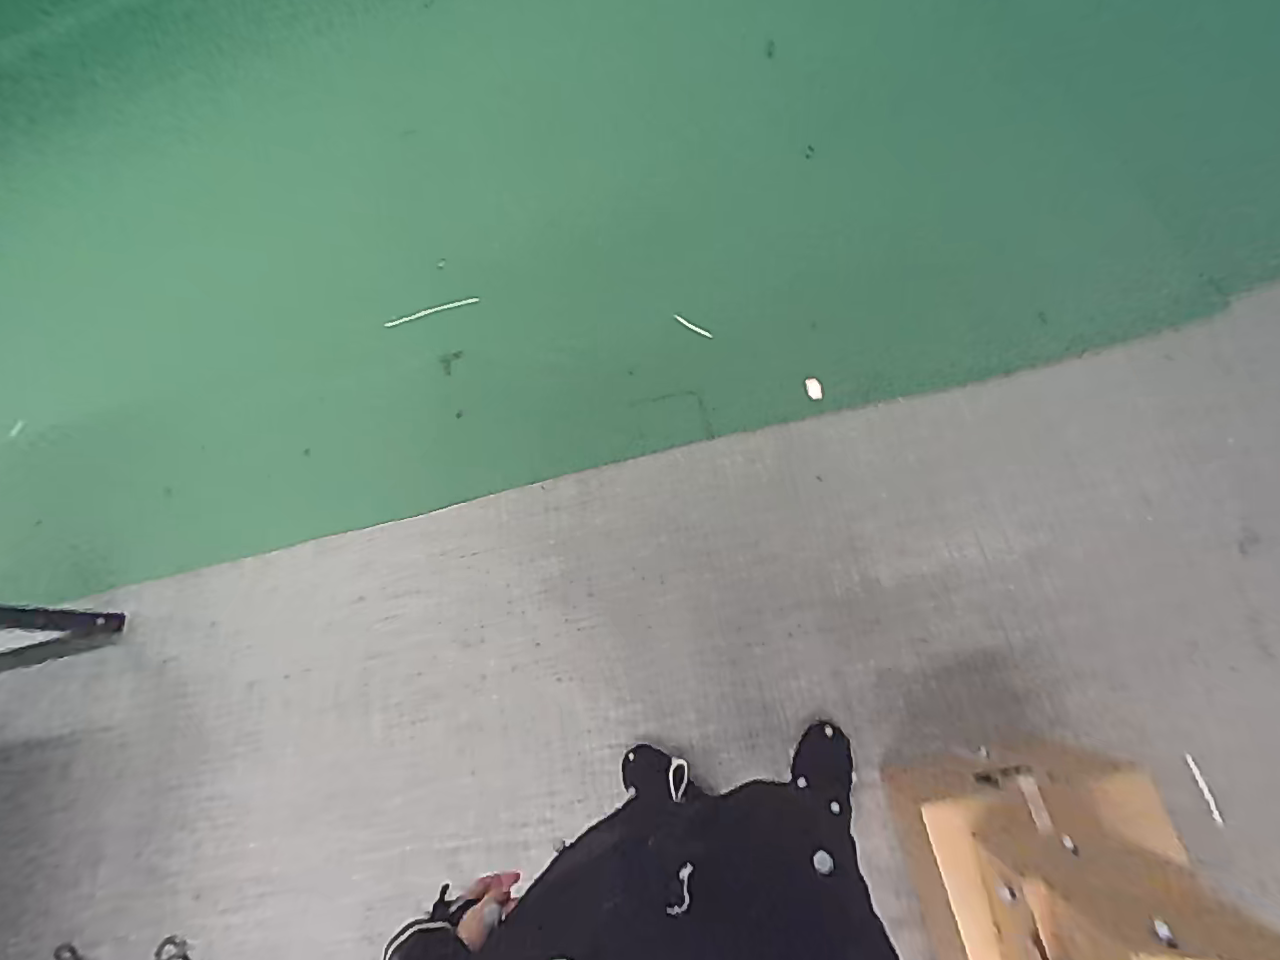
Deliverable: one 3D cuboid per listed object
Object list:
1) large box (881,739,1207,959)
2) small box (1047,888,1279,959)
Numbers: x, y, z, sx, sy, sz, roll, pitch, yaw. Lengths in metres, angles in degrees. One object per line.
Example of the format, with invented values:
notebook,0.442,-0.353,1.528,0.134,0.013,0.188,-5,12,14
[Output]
large box,0.627,0.670,0.846,0.320,0.320,0.408,-15,70,8
small box,0.516,0.504,0.488,0.179,0.176,0.168,-1,72,13
